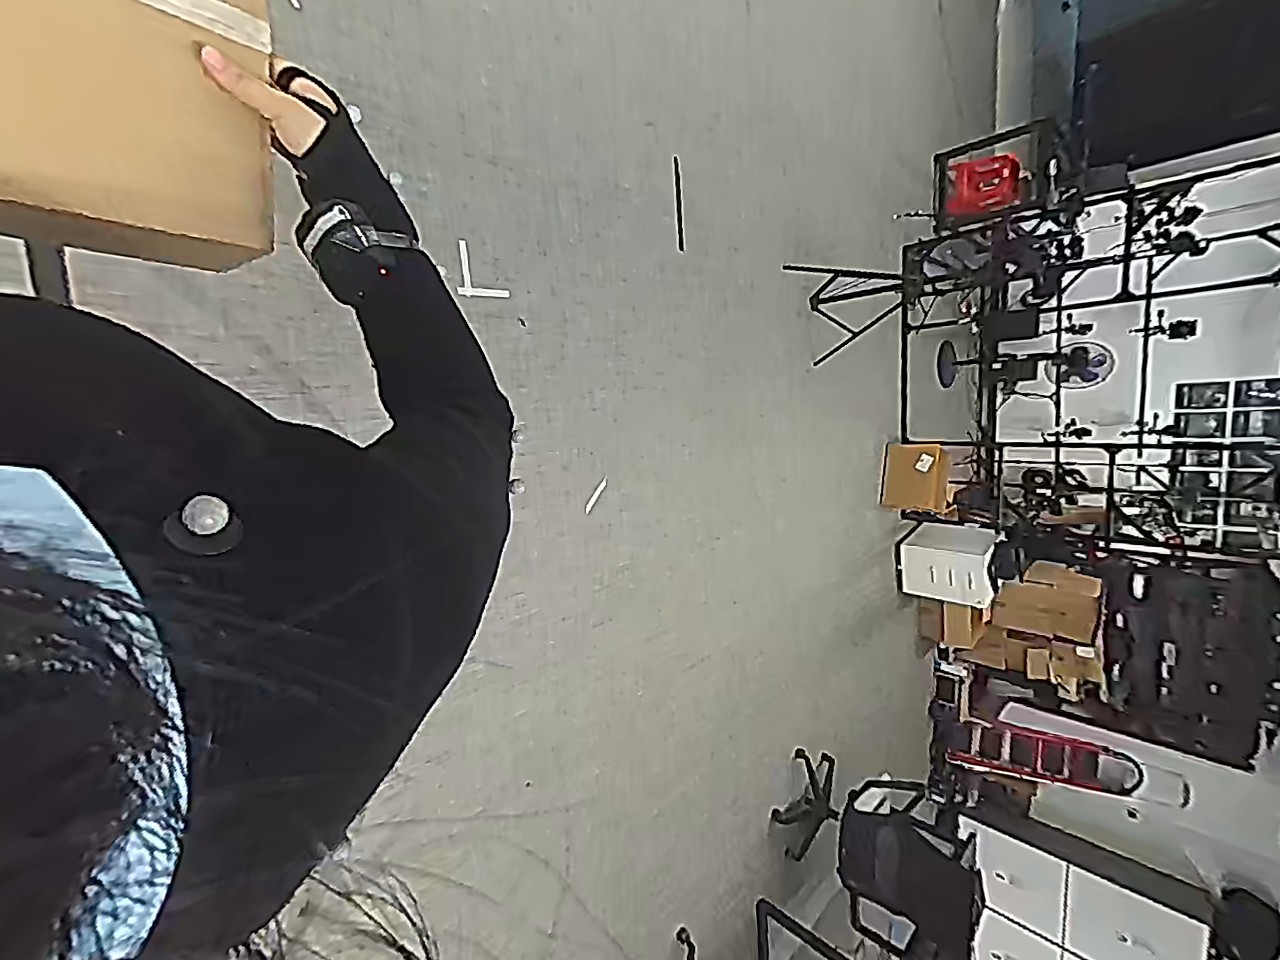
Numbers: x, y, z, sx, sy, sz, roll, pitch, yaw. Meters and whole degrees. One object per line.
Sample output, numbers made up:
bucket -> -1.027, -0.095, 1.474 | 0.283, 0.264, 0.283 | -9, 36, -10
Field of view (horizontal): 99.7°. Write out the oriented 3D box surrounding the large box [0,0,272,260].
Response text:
large box -> -0.543, -0.370, 0.405 | 0.408, 0.320, 0.320 | -4, 104, -42
